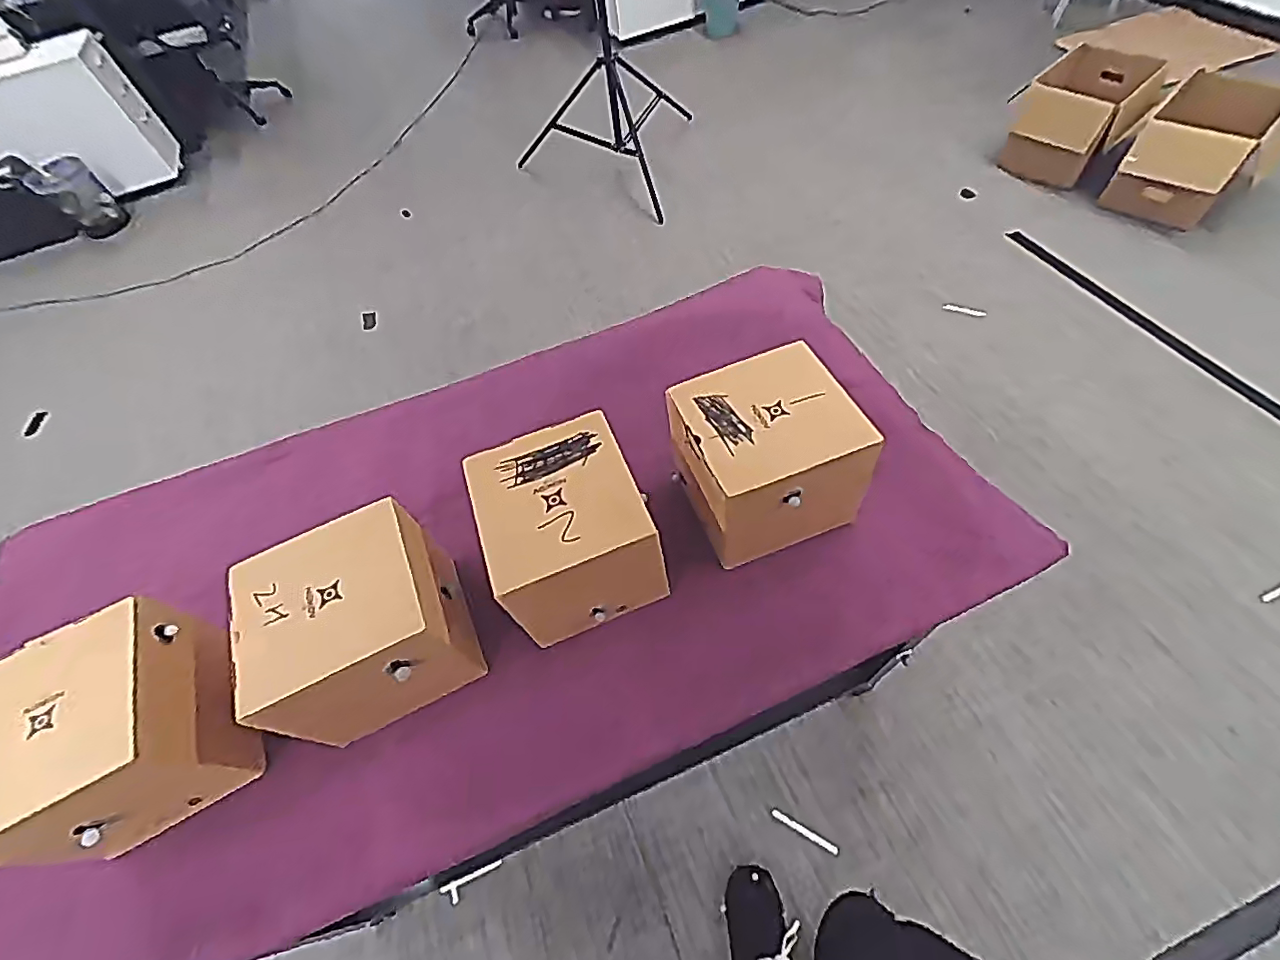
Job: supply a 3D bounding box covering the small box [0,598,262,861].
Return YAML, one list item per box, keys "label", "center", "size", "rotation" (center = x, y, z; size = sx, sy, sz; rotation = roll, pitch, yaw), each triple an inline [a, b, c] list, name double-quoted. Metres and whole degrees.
- label: "small box"
  center: [-0.530, 0.258, 0.559]
  size: [0.168, 0.176, 0.179]
  rotation: [-28, 58, -11]

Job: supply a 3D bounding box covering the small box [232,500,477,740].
- label: "small box"
  center: [-0.296, 0.157, 0.590]
  size: [0.179, 0.176, 0.168]
  rotation: [-26, 57, -9]

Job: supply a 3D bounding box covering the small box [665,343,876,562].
- label: "small box"
  center: [0.144, -0.026, 0.646]
  size: [0.179, 0.176, 0.168]
  rotation: [-20, 56, -6]
